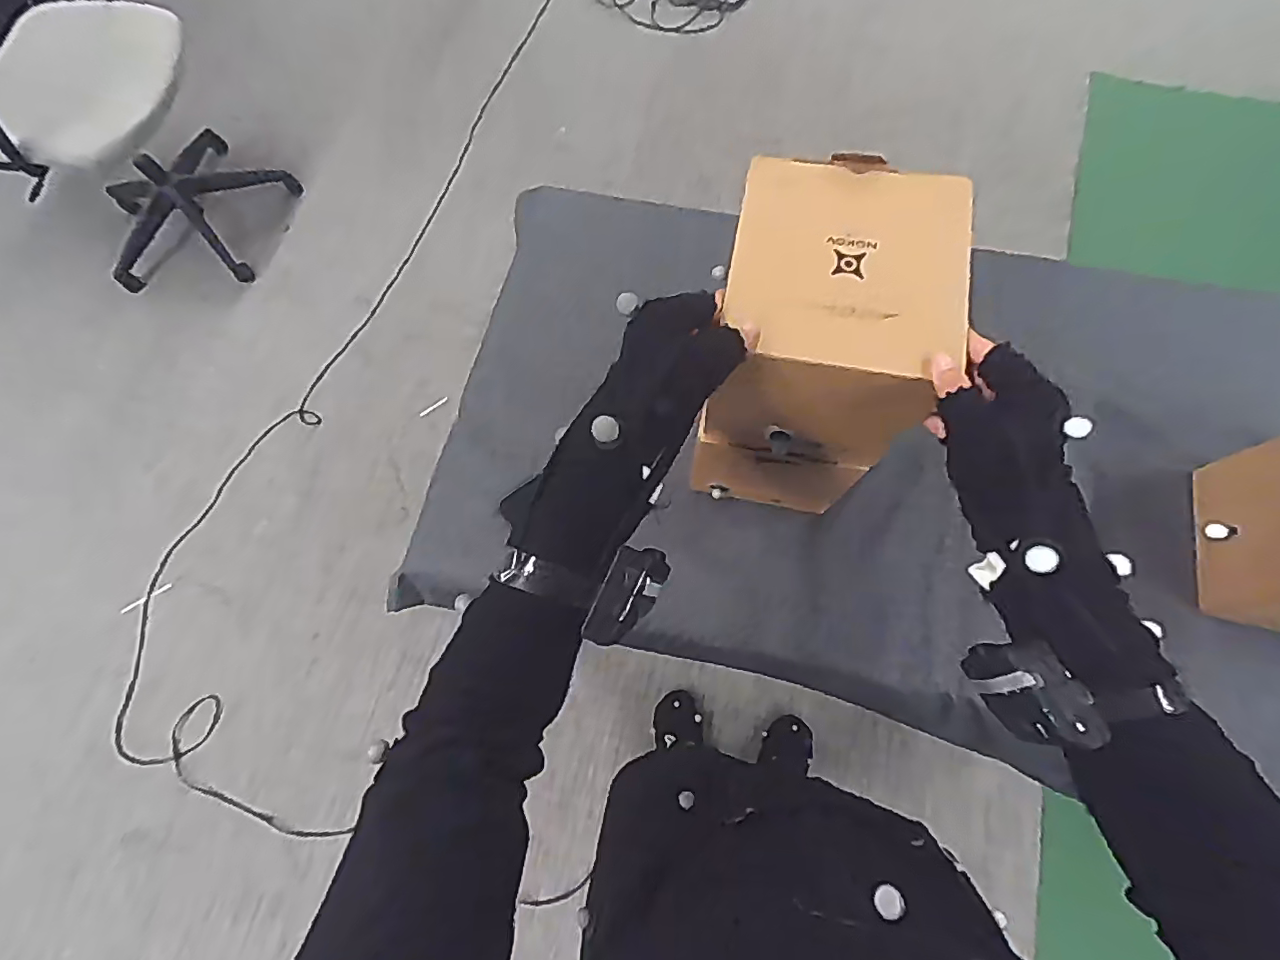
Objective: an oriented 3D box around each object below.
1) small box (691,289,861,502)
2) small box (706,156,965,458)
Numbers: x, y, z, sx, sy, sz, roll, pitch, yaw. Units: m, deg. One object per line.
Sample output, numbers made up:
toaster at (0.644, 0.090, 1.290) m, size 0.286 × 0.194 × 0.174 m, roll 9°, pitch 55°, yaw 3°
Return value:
small box at (0.154, -0.086, 0.621) m, size 0.168 × 0.176 × 0.179 m, roll 11°, pitch 72°, yaw 6°
small box at (0.152, -0.136, 0.468) m, size 0.168 × 0.176 × 0.179 m, roll 9°, pitch 75°, yaw 6°
